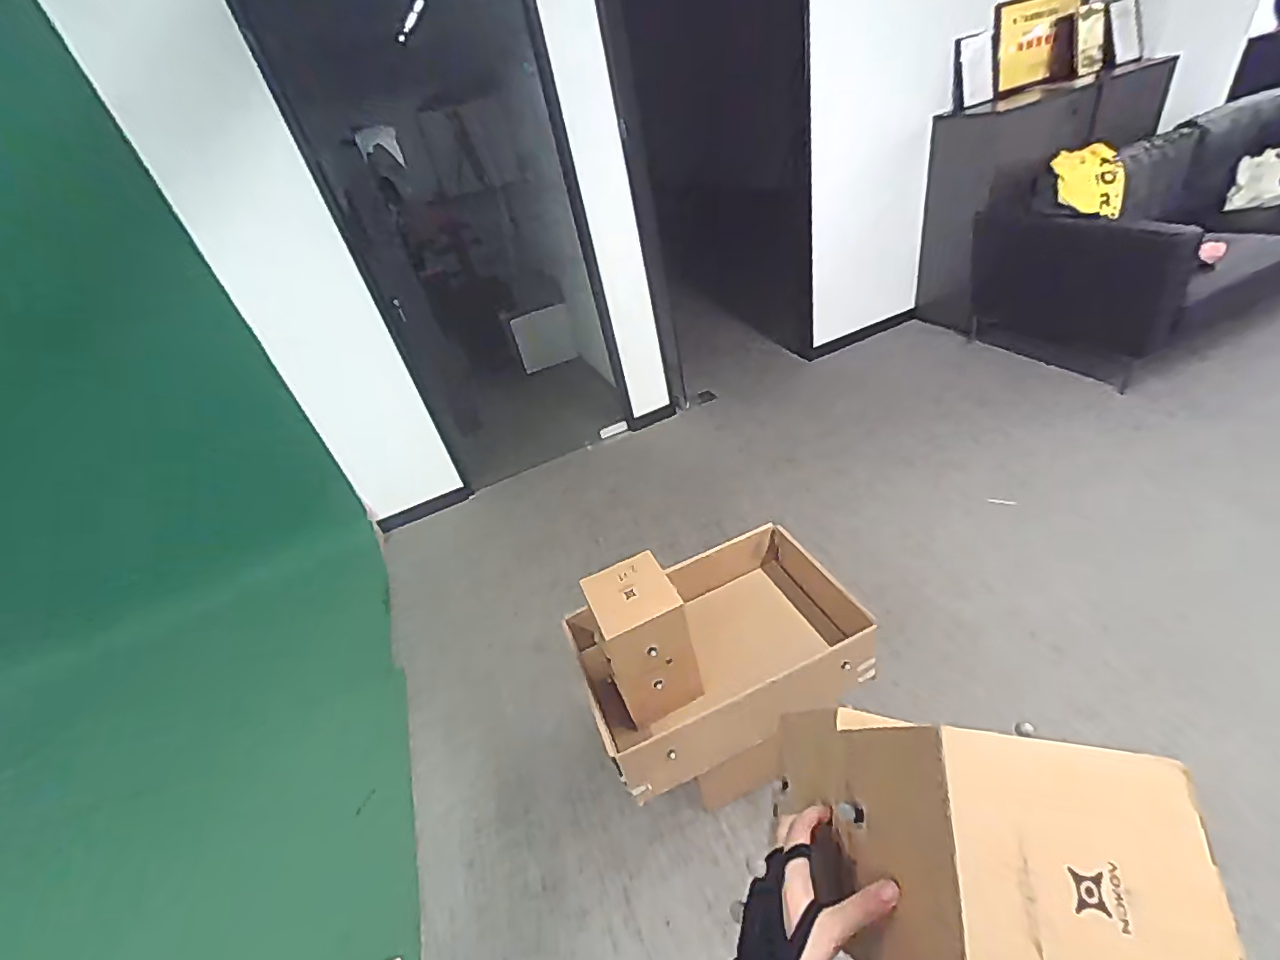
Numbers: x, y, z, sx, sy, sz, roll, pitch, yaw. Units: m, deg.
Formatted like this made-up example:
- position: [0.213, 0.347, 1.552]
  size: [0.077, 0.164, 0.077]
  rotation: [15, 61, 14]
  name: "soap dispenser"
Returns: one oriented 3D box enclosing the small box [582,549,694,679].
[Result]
- position: [-0.001, 0.283, 1.120]
  size: [0.168, 0.176, 0.179]
  rotation: [-22, 36, -11]
  name: "small box"
